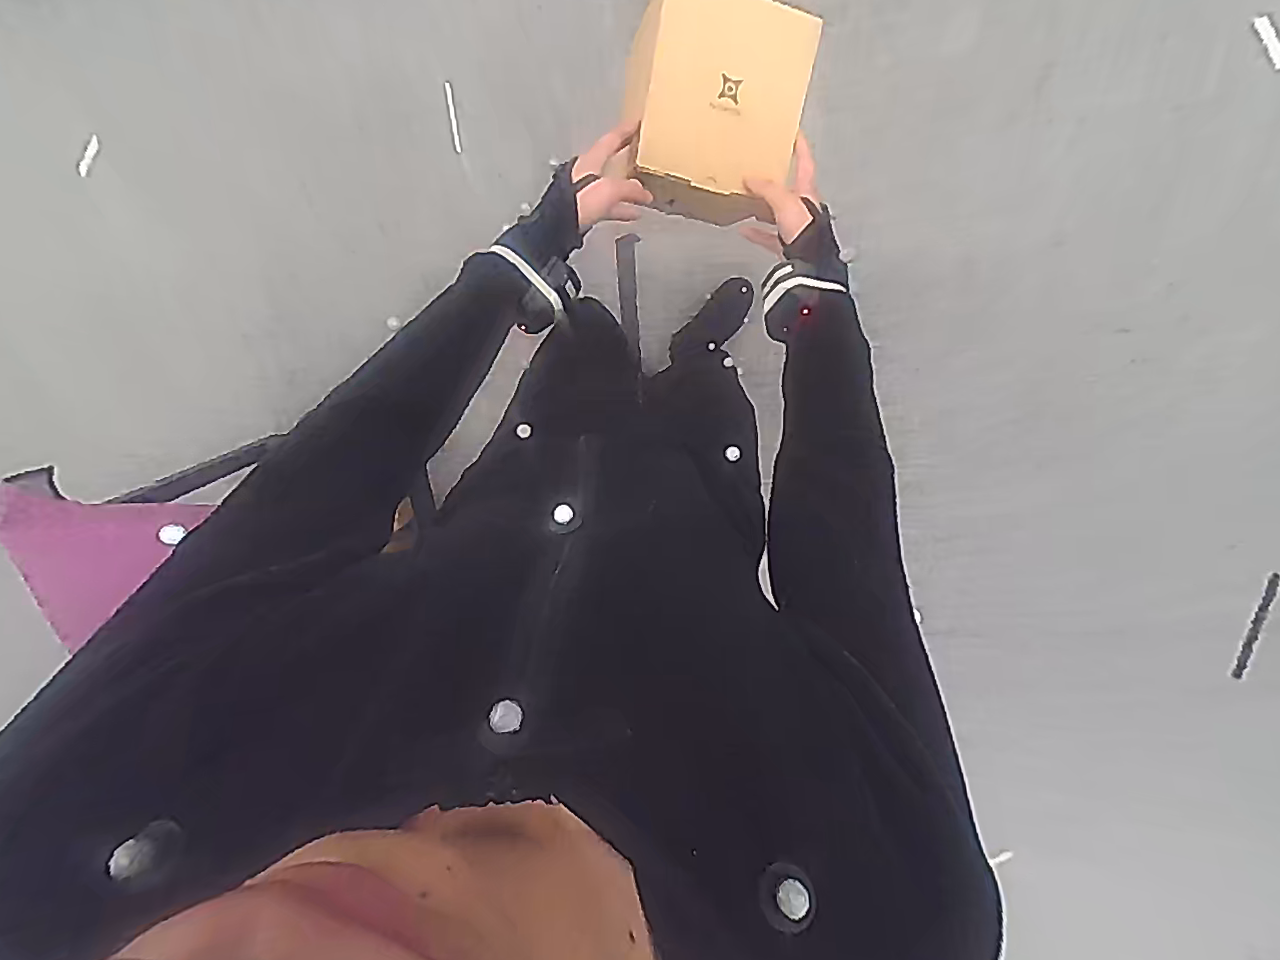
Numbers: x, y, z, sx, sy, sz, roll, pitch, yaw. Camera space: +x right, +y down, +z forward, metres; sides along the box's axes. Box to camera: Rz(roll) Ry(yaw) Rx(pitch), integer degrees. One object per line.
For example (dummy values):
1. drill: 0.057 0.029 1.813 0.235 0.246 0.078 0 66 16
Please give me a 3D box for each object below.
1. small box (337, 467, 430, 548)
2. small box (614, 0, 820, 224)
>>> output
1. small box: -0.826 0.086 1.757 0.179 0.176 0.168 -29 106 19
2. small box: 0.072 -0.412 0.619 0.168 0.176 0.179 6 107 -15
